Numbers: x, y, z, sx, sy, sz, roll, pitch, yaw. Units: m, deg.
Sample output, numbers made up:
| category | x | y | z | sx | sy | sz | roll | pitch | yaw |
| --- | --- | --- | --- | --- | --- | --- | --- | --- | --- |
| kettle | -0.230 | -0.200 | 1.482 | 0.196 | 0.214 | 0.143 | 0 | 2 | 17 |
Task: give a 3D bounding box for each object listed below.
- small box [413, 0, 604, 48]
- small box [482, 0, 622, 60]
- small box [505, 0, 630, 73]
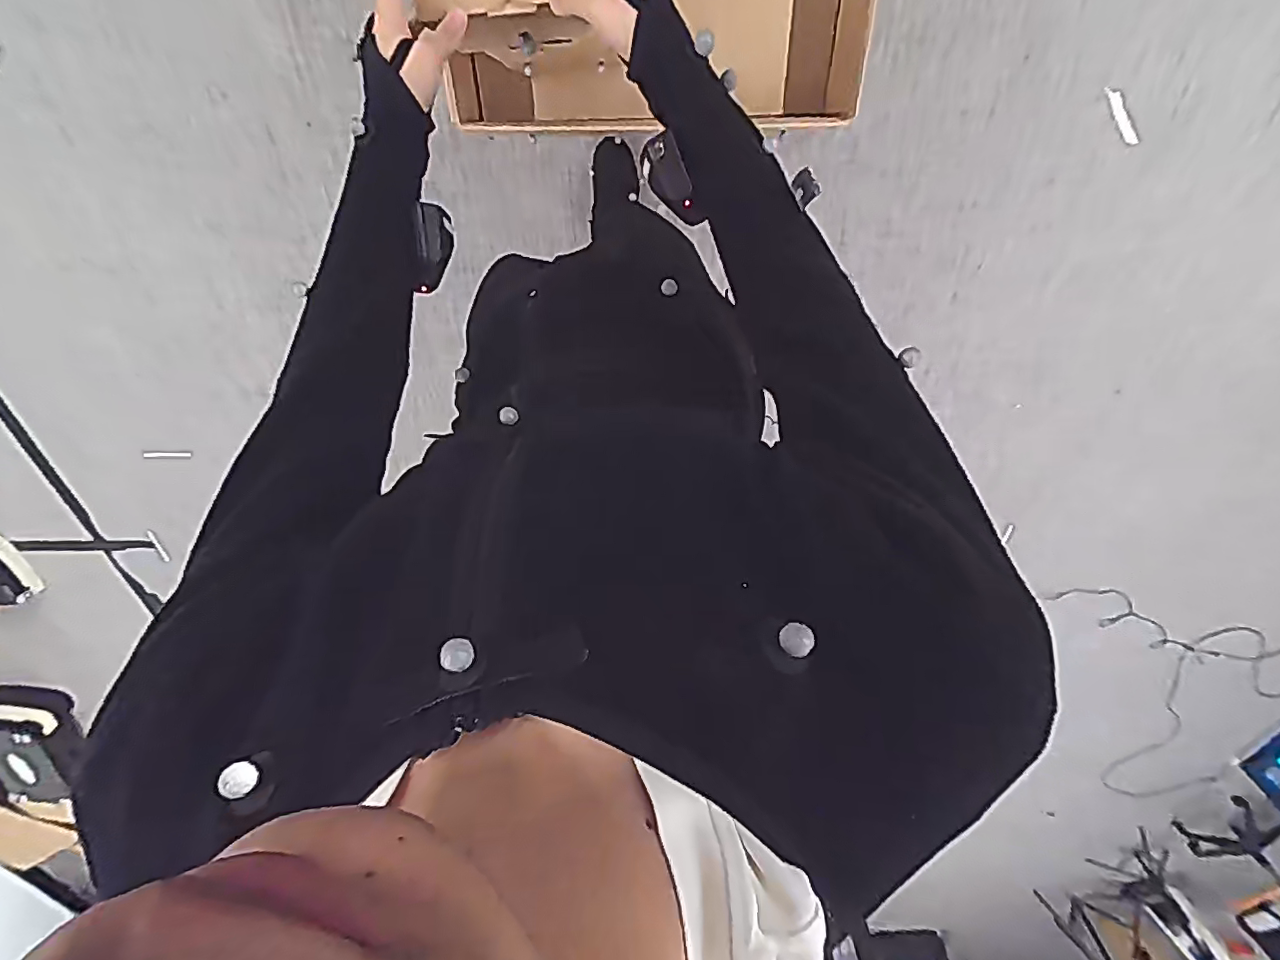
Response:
| category | x | y | z | sx | sy | sz | roll | pitch | yaw |
| --- | --- | --- | --- | --- | --- | --- | --- | --- | --- |
| small box | -0.125 | -0.525 | 0.493 | 0.168 | 0.176 | 0.179 | -7 | 122 | 1 |
| small box | -0.108 | -0.612 | 0.635 | 0.168 | 0.176 | 0.179 | -5 | 122 | 1 |
| small box | -0.110 | -0.698 | 0.774 | 0.179 | 0.176 | 0.168 | -5 | 123 | 2 |
